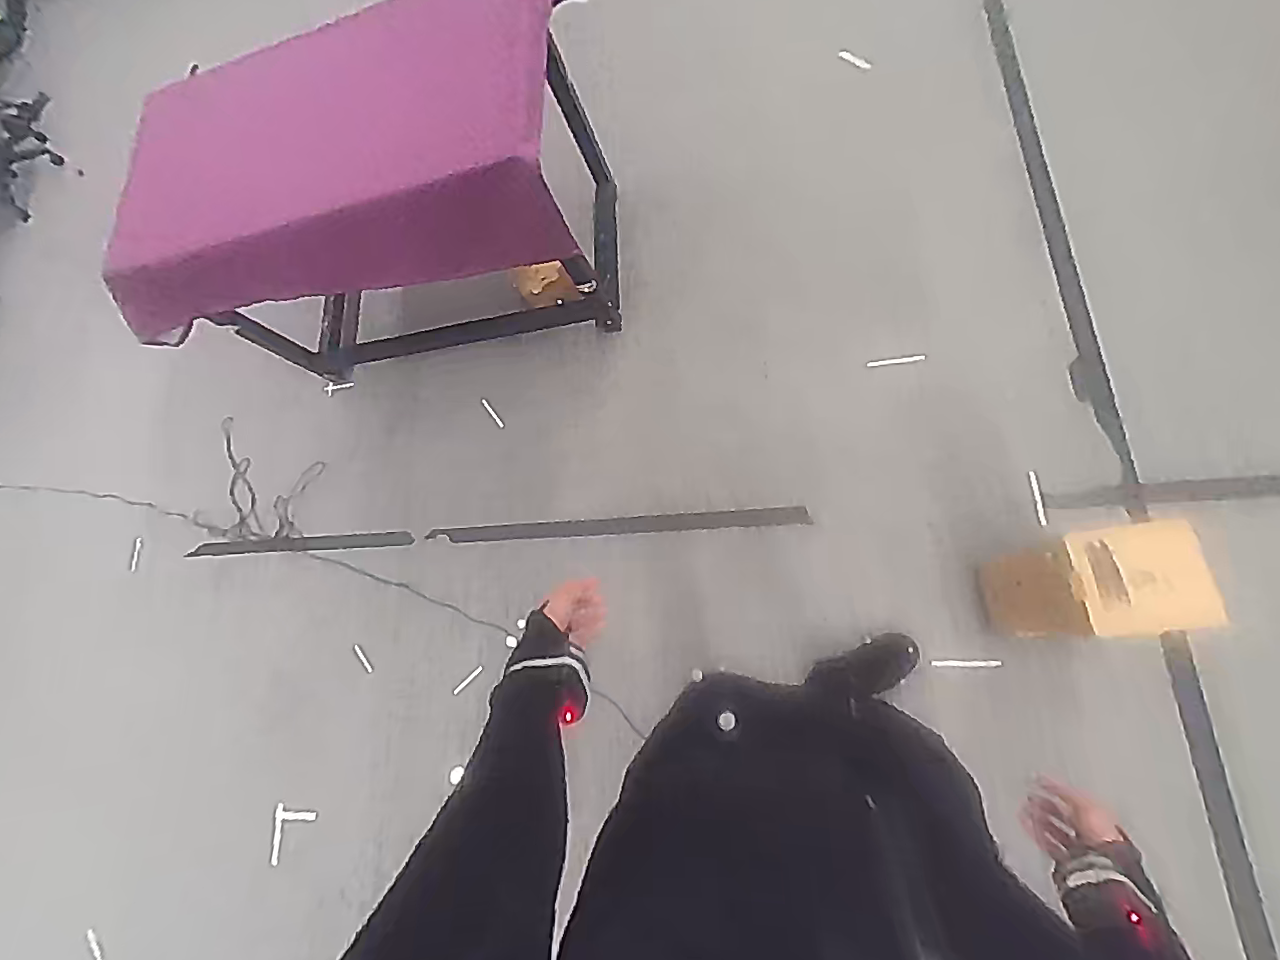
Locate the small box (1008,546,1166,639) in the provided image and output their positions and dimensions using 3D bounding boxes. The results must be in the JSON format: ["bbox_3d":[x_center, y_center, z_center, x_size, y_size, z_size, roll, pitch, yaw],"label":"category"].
[{"bbox_3d":[0.857,0.219,1.056,0.179,0.176,0.168,-4,76,17],"label":"small box"}]

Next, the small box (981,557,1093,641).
[{"bbox_3d":[0.893,0.261,1.209,0.168,0.176,0.179,-8,74,15],"label":"small box"}]
